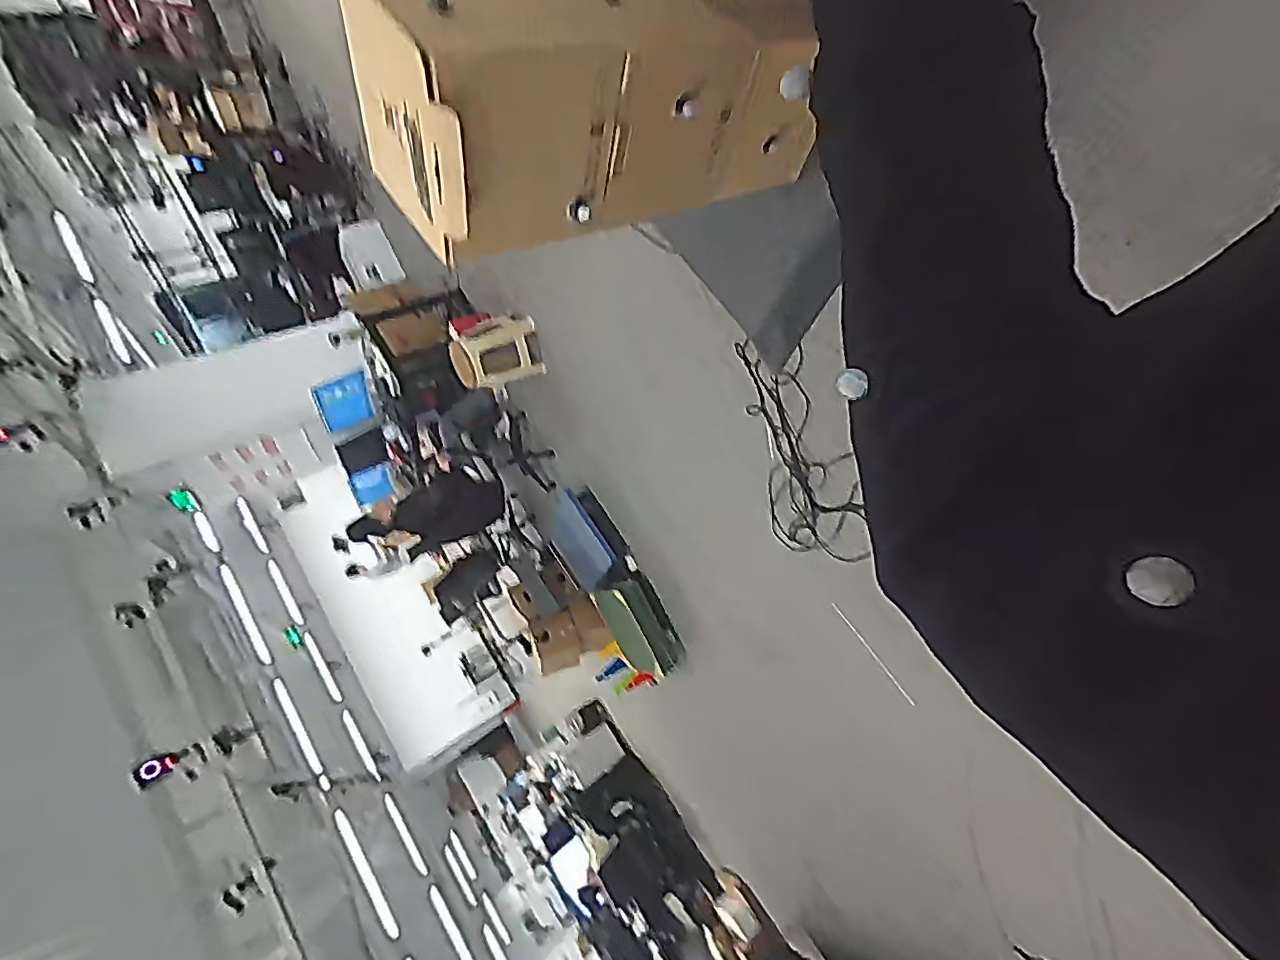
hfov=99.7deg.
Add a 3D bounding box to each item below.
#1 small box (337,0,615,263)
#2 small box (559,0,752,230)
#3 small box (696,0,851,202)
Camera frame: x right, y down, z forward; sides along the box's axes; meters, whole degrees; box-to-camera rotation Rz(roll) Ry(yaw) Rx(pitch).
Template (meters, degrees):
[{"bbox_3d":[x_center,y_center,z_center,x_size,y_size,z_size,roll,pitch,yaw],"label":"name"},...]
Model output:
[{"bbox_3d":[-0.143,-0.335,0.493,0.179,0.176,0.168,51,149,21],"label":"small box"},{"bbox_3d":[-0.014,-0.402,0.570,0.179,0.176,0.168,52,150,20],"label":"small box"},{"bbox_3d":[0.111,-0.473,0.646,0.179,0.176,0.168,52,151,19],"label":"small box"}]
